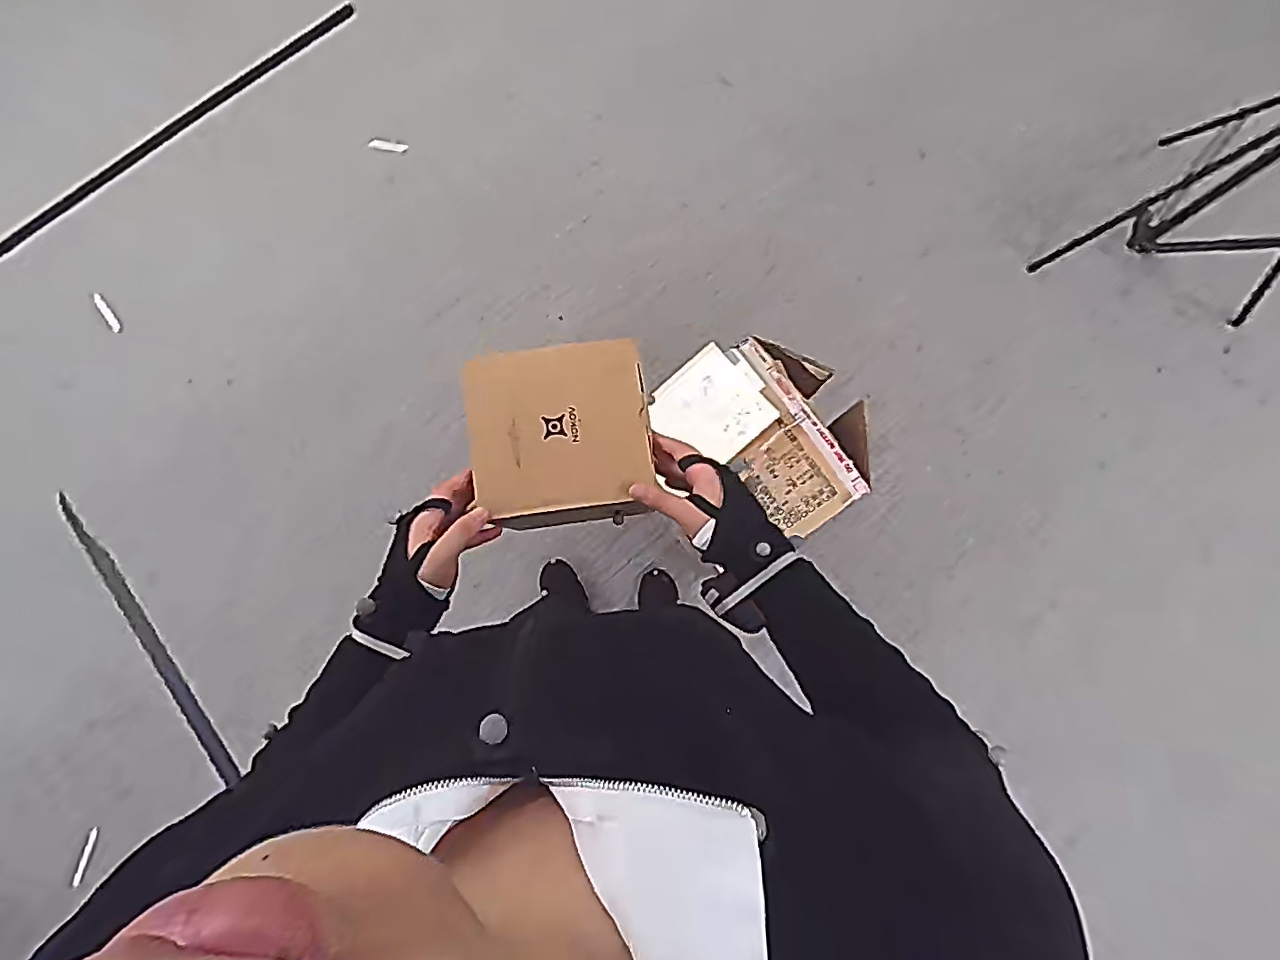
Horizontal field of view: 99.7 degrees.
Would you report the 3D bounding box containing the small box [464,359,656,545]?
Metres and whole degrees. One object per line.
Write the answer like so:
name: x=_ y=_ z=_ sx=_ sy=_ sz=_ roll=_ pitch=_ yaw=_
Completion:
small box: x=-0.082 y=-0.021 z=0.619 sx=0.179 sy=0.176 sz=0.168 roll=-10 pitch=80 yaw=-1
